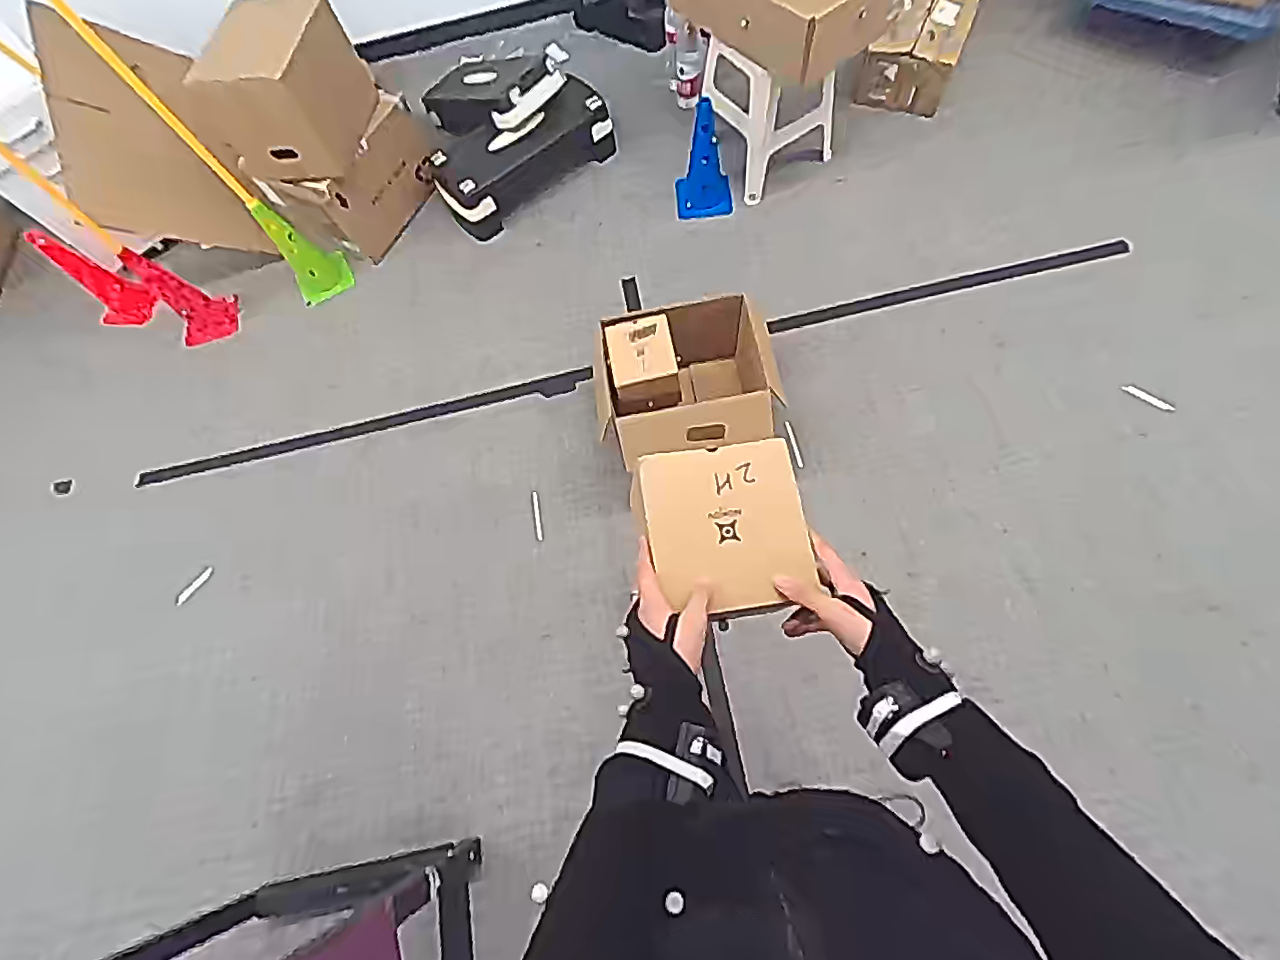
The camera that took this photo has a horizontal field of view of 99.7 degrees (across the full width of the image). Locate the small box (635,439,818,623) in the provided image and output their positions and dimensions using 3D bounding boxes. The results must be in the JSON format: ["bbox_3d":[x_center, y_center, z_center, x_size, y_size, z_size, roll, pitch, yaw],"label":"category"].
[{"bbox_3d":[0.086,0.070,0.640,0.168,0.176,0.179,-7,71,-6],"label":"small box"}]
